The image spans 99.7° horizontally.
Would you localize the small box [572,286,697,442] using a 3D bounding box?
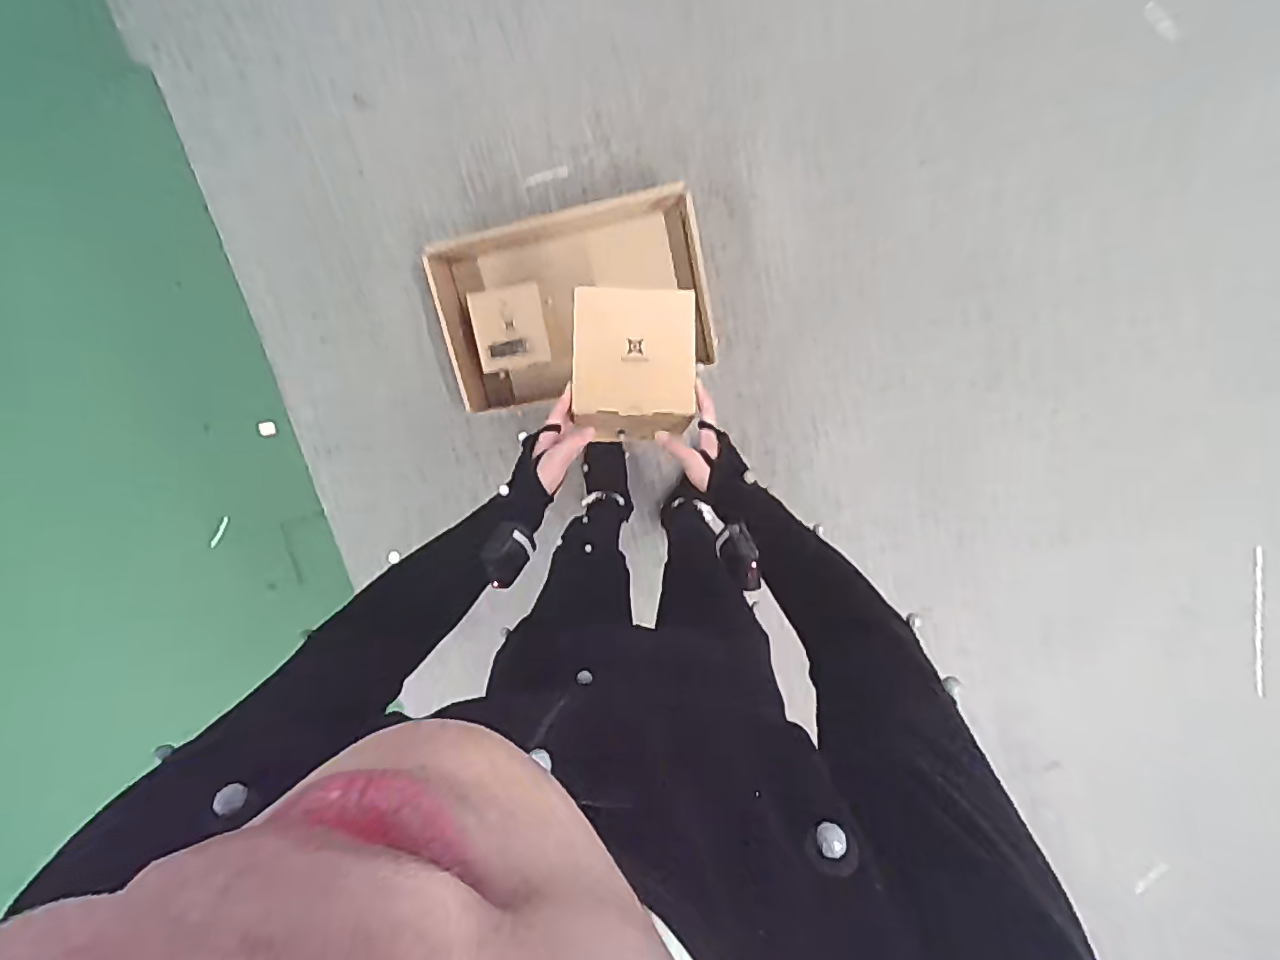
[{"bbox_3d":[-0.012,-0.159,0.789,0.168,0.176,0.179,1,83,-4],"label":"small box"}]
